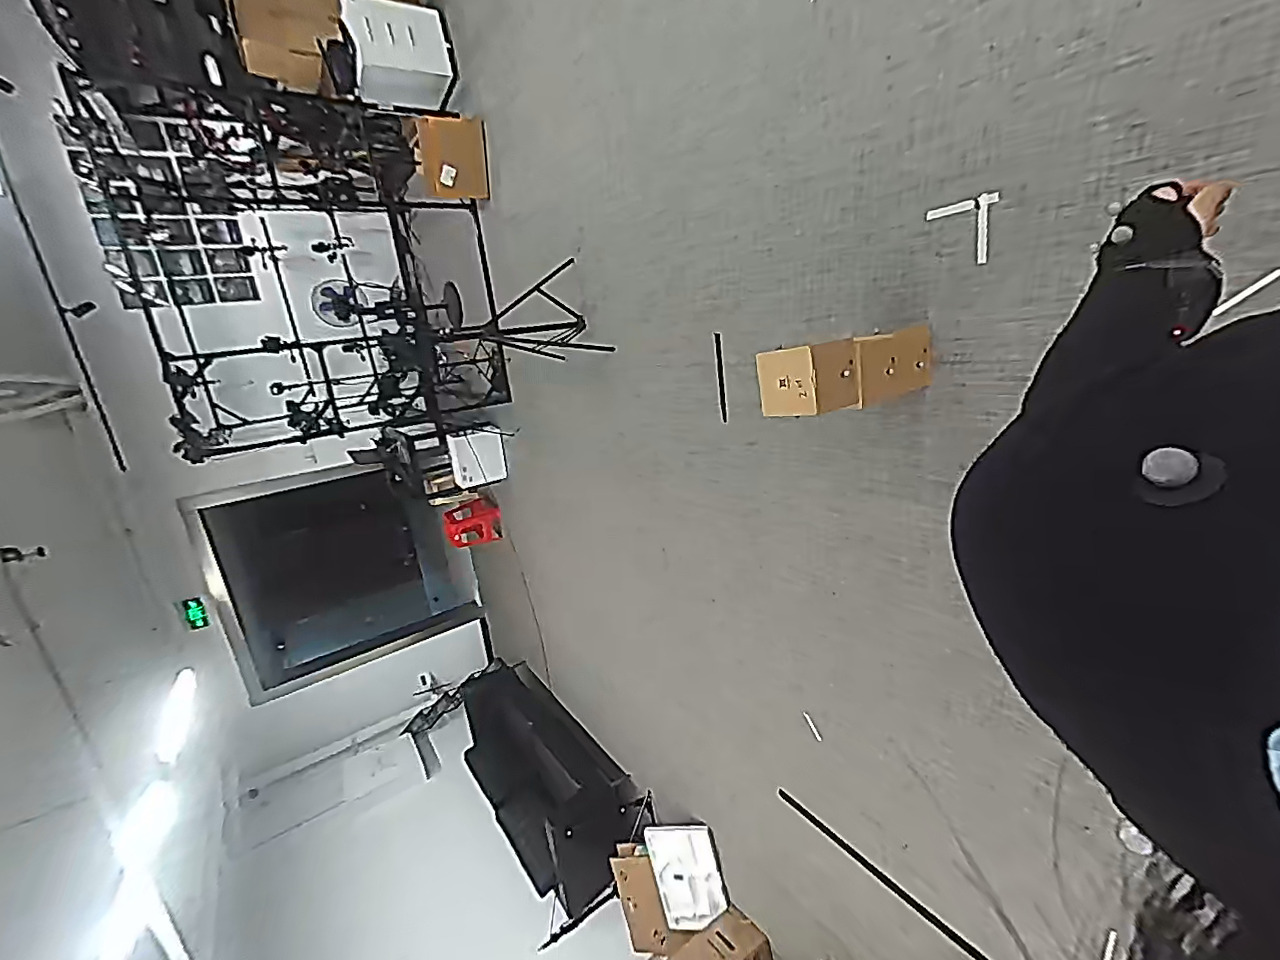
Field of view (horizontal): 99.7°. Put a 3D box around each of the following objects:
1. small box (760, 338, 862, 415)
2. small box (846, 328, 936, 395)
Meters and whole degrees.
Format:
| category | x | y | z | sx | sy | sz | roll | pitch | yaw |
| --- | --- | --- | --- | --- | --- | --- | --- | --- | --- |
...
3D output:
| category | x | y | z | sx | sy | sz | roll | pitch | yaw |
| --- | --- | --- | --- | --- | --- | --- | --- | --- | --- |
| small box | 0.430 | -0.258 | 1.360 | 0.179 | 0.176 | 0.168 | 7 | 111 | 55 |
| small box | 0.704 | -0.334 | 1.526 | 0.179 | 0.176 | 0.168 | 14 | 116 | 55 |
